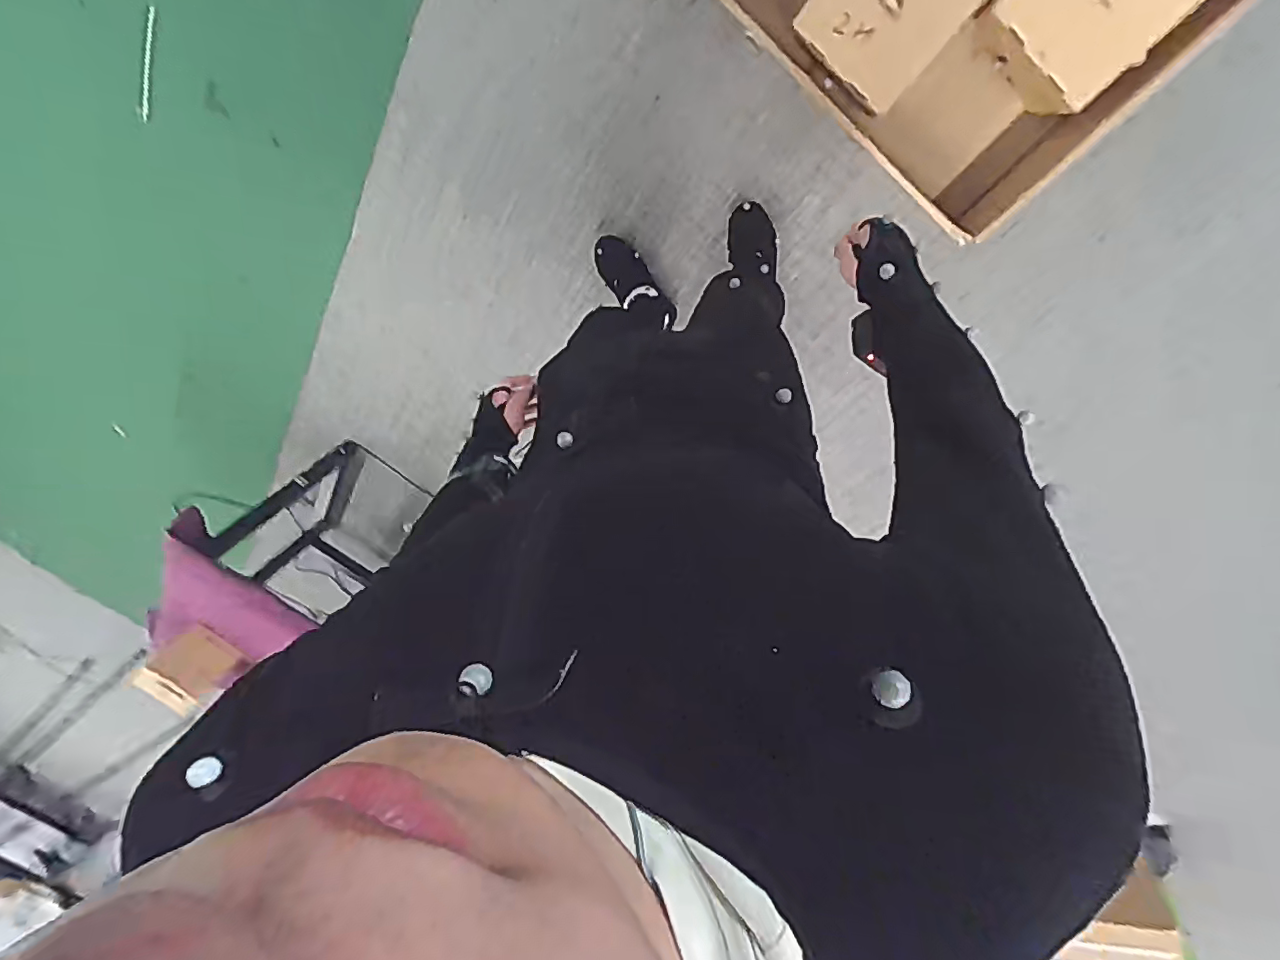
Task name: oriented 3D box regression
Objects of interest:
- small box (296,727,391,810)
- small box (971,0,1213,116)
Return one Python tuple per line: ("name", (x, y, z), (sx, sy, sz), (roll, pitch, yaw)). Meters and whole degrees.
("small box", (-0.954, 0.924, 1.747), (0.179, 0.176, 0.168), (45, 124, -13))
("small box", (0.551, -0.590, 0.665), (0.168, 0.176, 0.179), (39, 126, -11))
